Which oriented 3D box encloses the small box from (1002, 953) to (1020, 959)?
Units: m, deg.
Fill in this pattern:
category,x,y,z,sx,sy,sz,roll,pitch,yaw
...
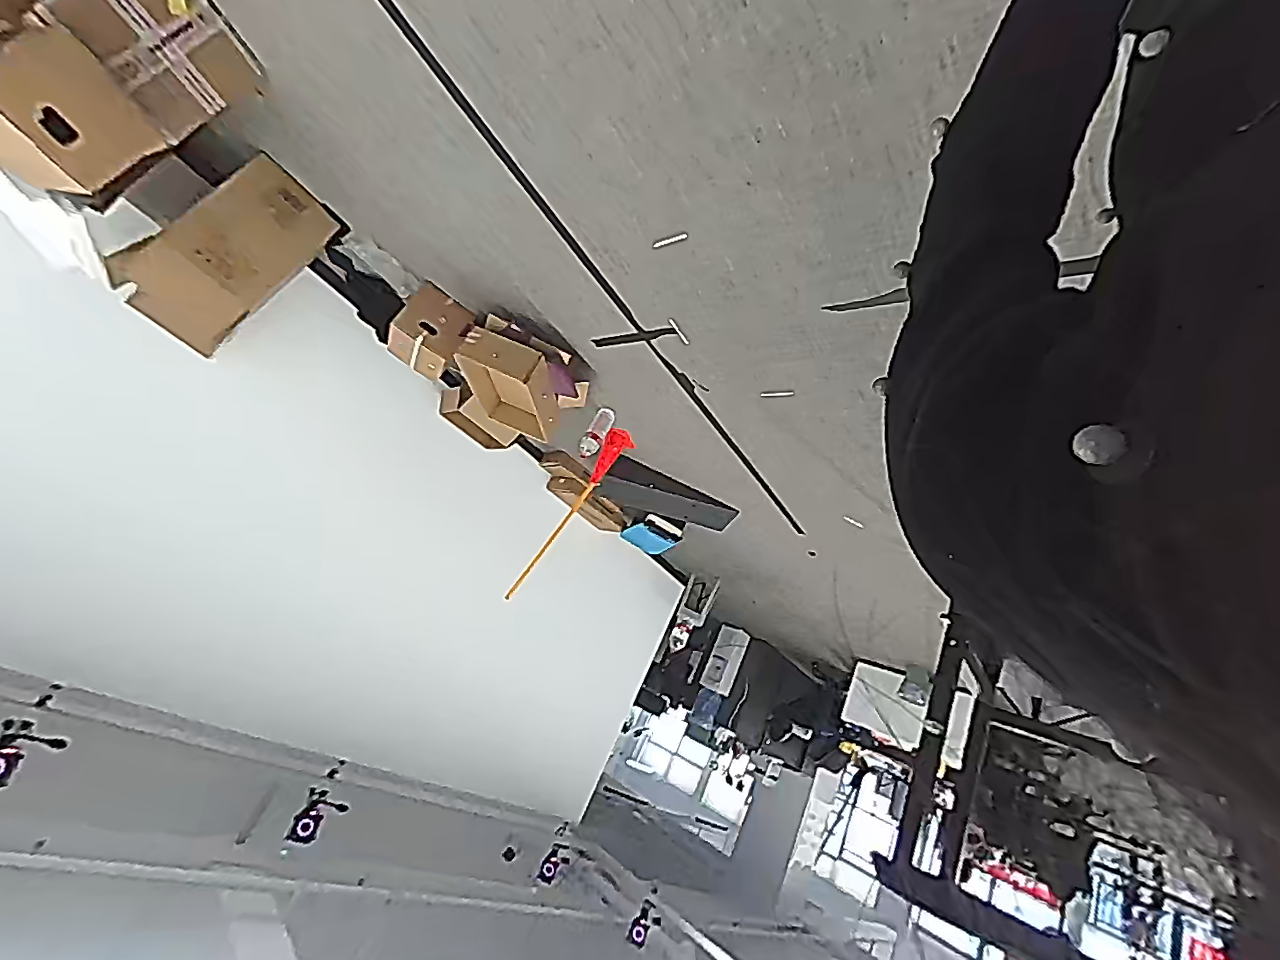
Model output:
category,x,y,z,sx,sy,sz,roll,pitch,yaw
small box,0.893,1.201,1.203,0.168,0.176,0.179,8,154,41
